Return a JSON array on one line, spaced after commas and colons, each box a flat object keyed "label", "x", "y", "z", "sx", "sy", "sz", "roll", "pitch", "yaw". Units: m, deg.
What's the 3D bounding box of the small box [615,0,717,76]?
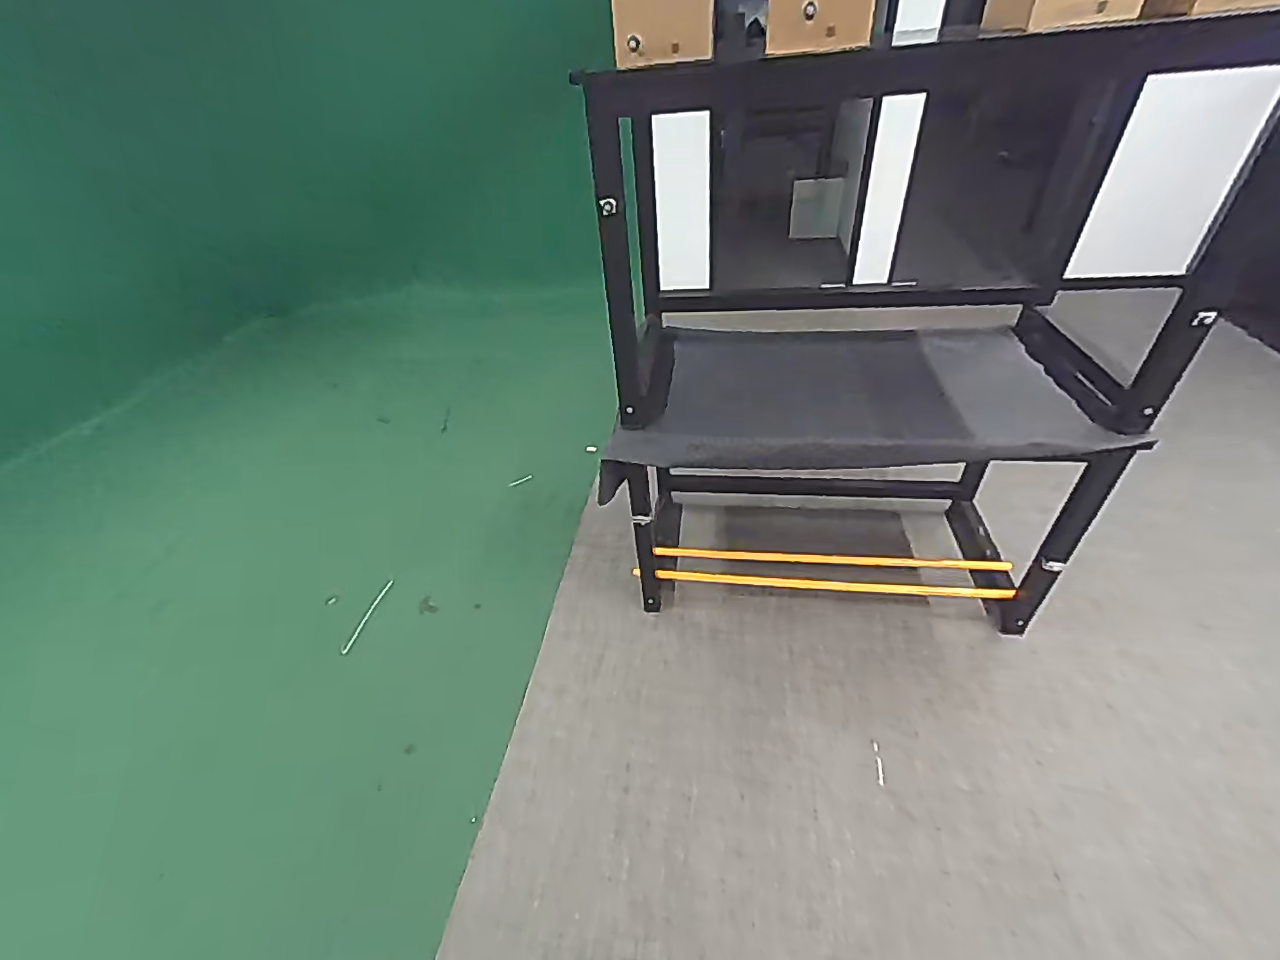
[{"label": "small box", "x": 0.050, "y": -0.824, "z": 0.952, "sx": 0.168, "sy": 0.176, "sz": 0.179, "roll": 1, "pitch": 38, "yaw": 8}]

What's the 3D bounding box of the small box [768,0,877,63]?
[{"label": "small box", "x": 0.312, "y": -0.816, "z": 0.913, "sx": 0.168, "sy": 0.176, "sz": 0.179, "roll": 7, "pitch": 41, "yaw": 15}]
